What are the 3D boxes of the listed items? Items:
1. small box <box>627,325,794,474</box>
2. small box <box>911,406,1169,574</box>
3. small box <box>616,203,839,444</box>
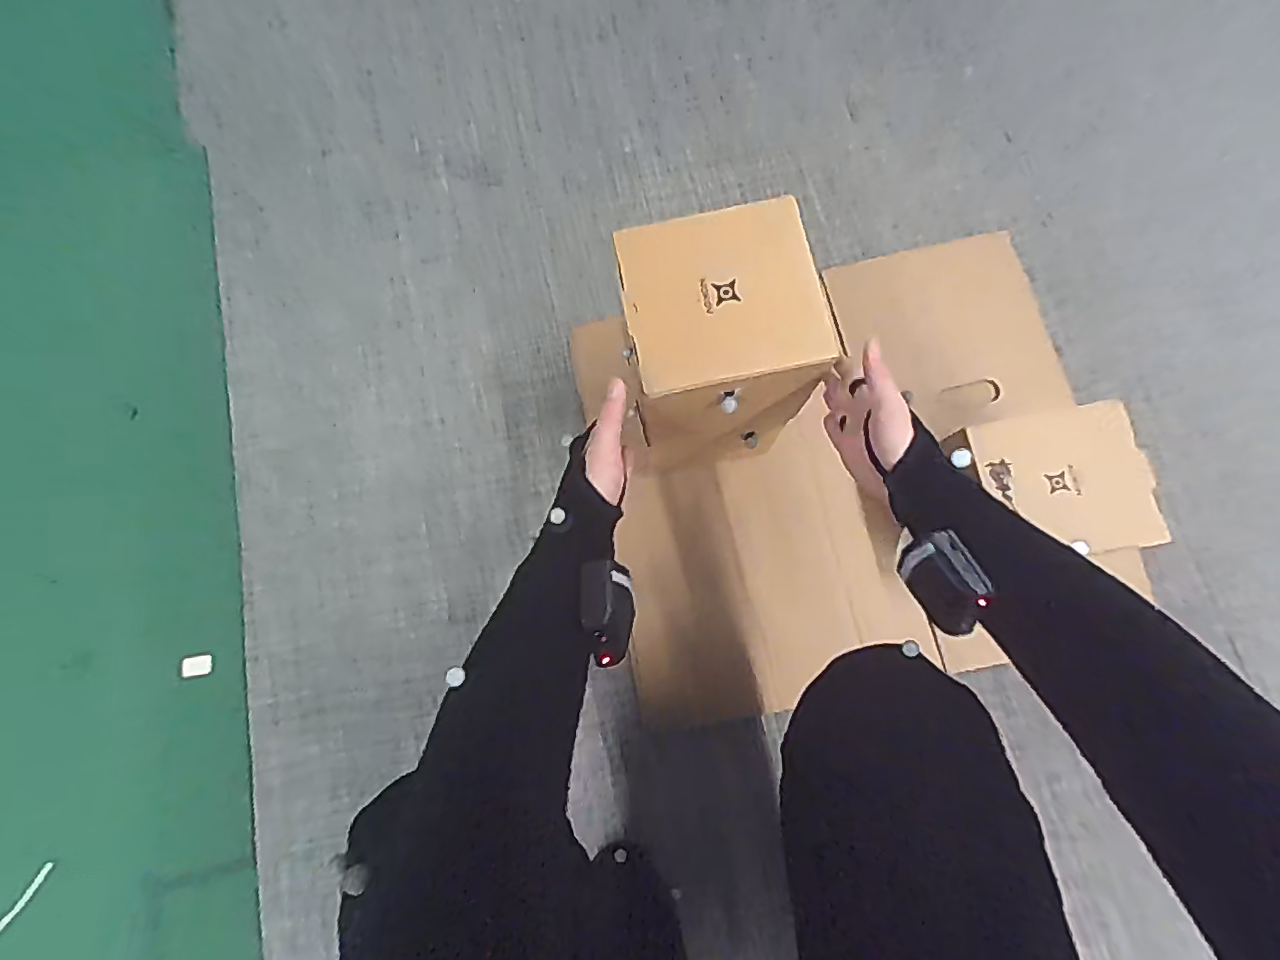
[{"bbox_3d":[0.085,-0.115,0.722,0.179,0.176,0.168,-11,78,2],"label":"small box"},{"bbox_3d":[0.472,0.022,0.671,0.179,0.176,0.168,-10,78,3],"label":"small box"},{"bbox_3d":[0.080,-0.147,0.563,0.179,0.176,0.168,-11,78,2],"label":"small box"}]
